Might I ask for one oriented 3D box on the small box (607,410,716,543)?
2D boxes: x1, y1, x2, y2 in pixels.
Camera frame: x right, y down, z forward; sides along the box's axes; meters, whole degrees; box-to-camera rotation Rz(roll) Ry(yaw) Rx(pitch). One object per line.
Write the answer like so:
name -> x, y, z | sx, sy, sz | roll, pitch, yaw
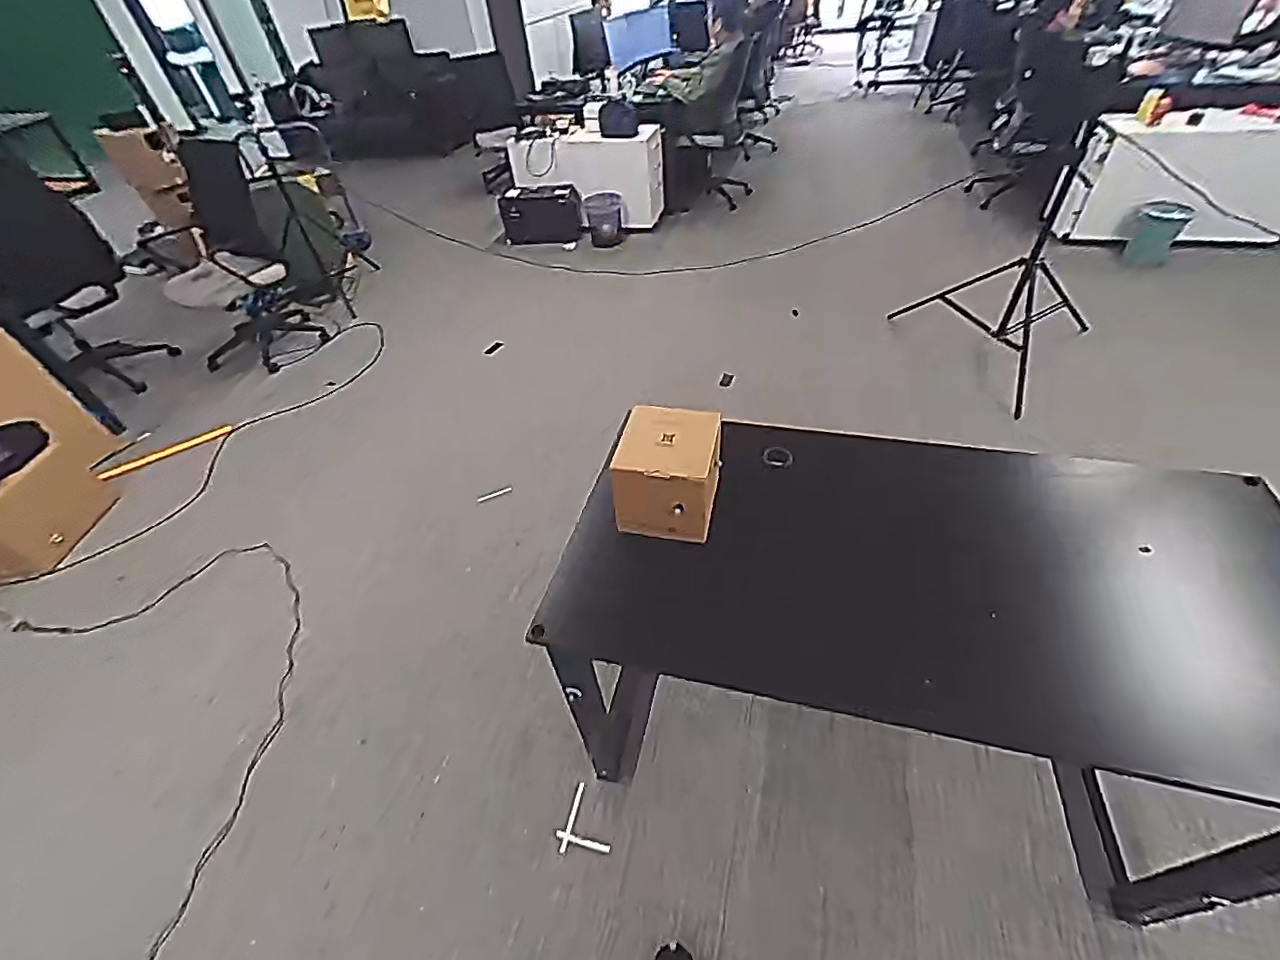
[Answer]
small box -> 0.047, -0.005, 1.000 | 0.168, 0.176, 0.179 | 7, 45, 11
